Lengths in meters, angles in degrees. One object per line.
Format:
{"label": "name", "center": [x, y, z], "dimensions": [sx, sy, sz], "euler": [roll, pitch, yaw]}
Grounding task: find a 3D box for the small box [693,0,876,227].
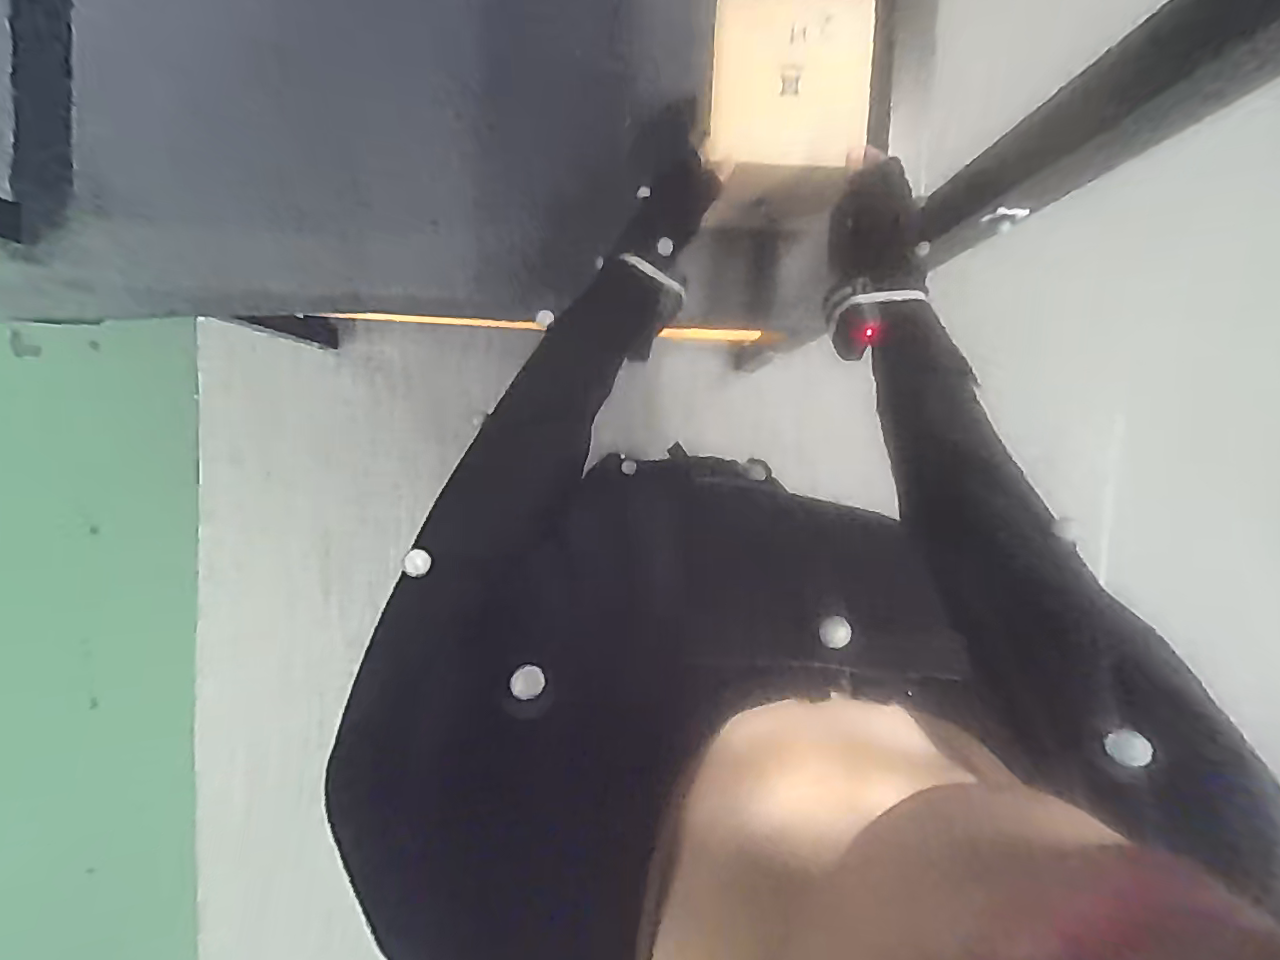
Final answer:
{"label": "small box", "center": [0.156, -0.420, 0.641], "dimensions": [0.168, 0.176, 0.179], "euler": [3, 94, -1]}
